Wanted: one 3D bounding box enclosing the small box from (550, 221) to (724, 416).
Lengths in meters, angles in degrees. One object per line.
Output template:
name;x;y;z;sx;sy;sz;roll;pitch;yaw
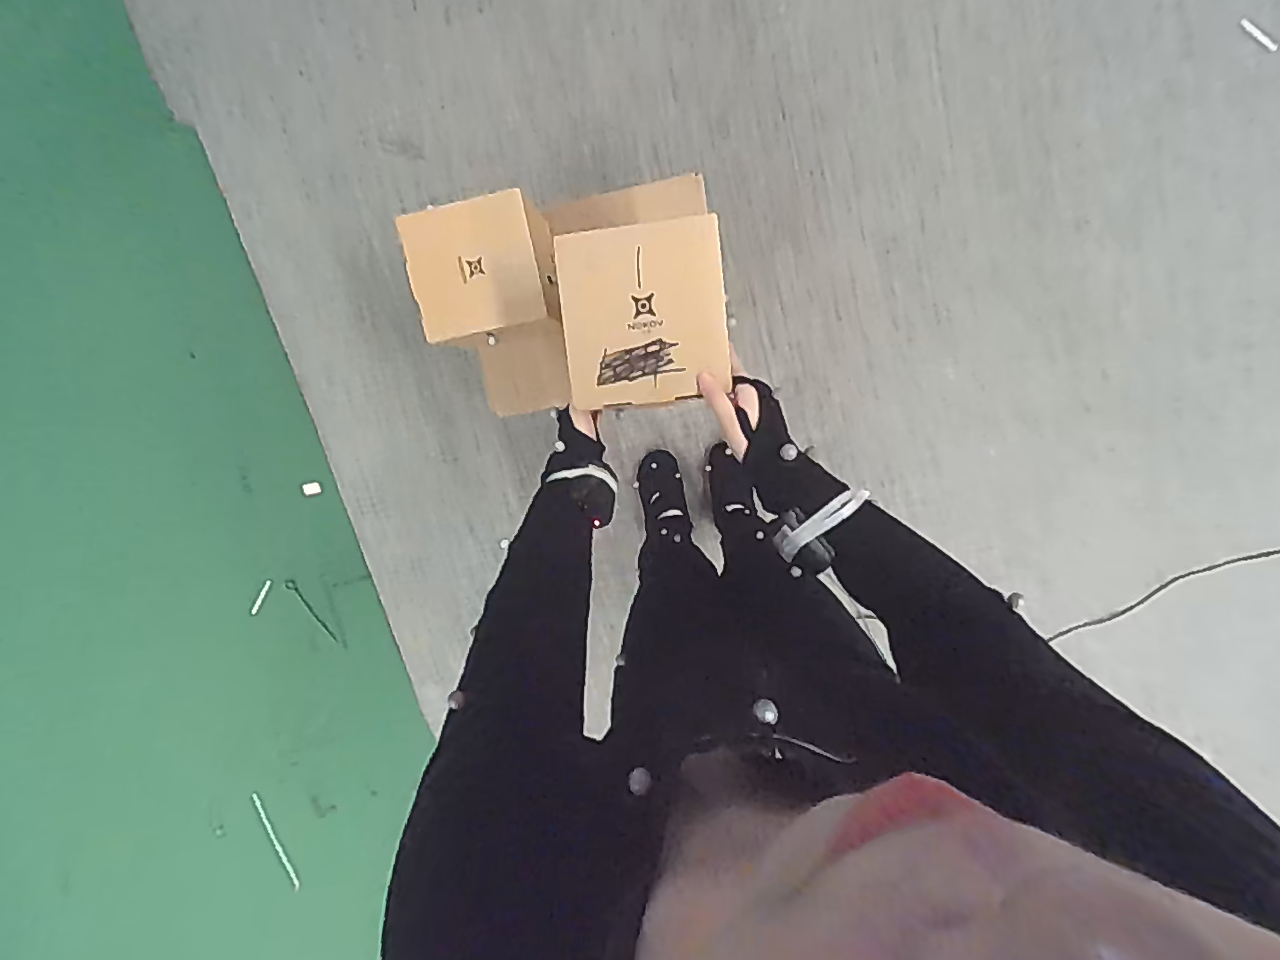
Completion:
small box;0.005;-0.170;0.624;0.168;0.176;0.179;-6;95;5

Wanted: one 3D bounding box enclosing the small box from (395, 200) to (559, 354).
small box;-0.220;-0.286;0.798;0.179;0.176;0.168;-11;100;6
